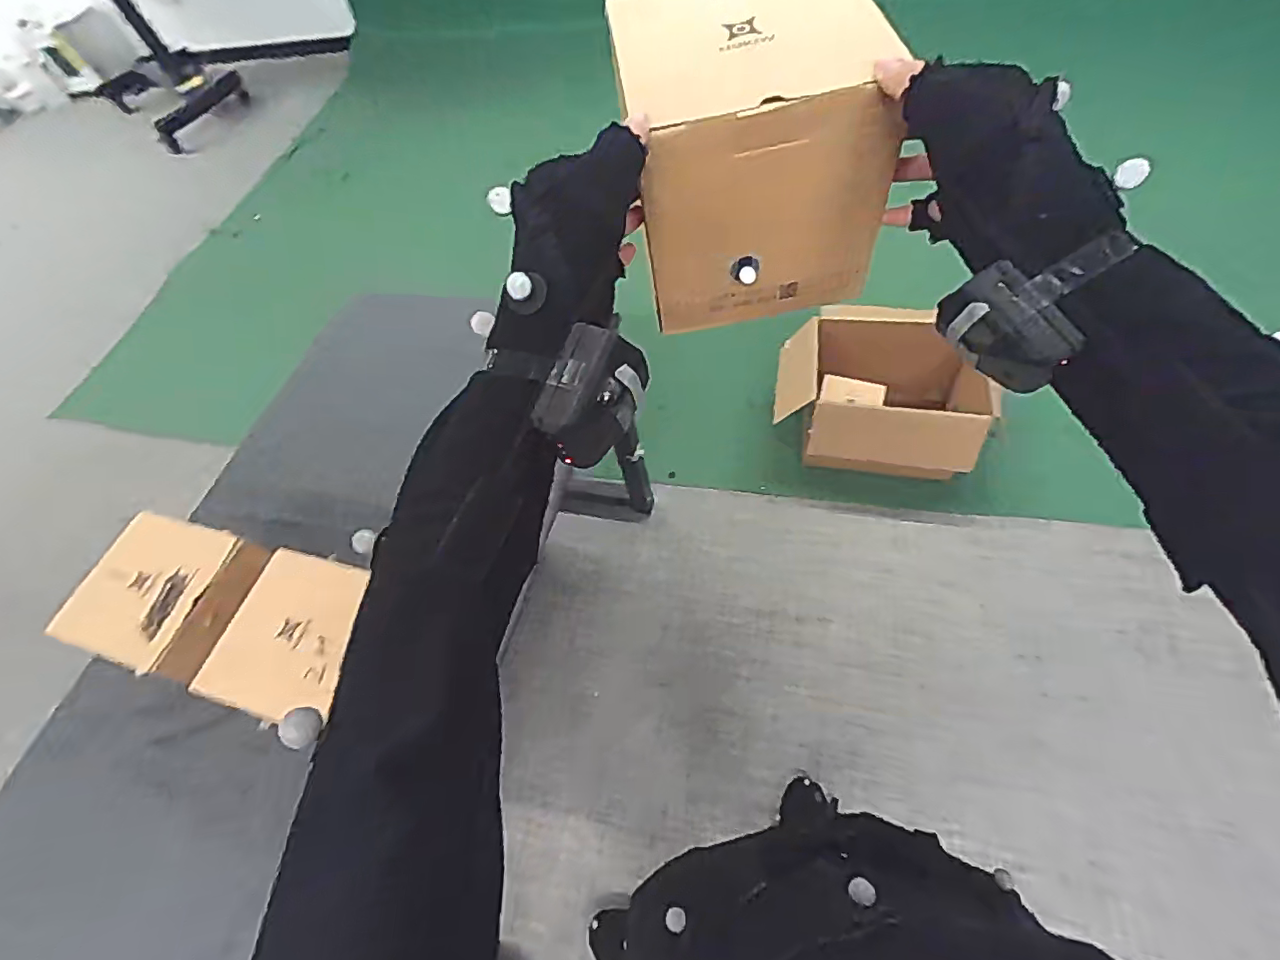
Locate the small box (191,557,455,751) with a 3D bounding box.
[{"bbox_3d":[-0.361,0.214,0.652,0.179,0.176,0.168,10,62,15],"label":"small box"}]

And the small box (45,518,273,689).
[{"bbox_3d":[-0.578,0.173,0.712,0.179,0.176,0.168,11,62,15],"label":"small box"}]

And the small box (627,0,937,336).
[{"bbox_3d":[0.088,-0.242,0.417,0.168,0.176,0.179,-10,62,4],"label":"small box"}]
